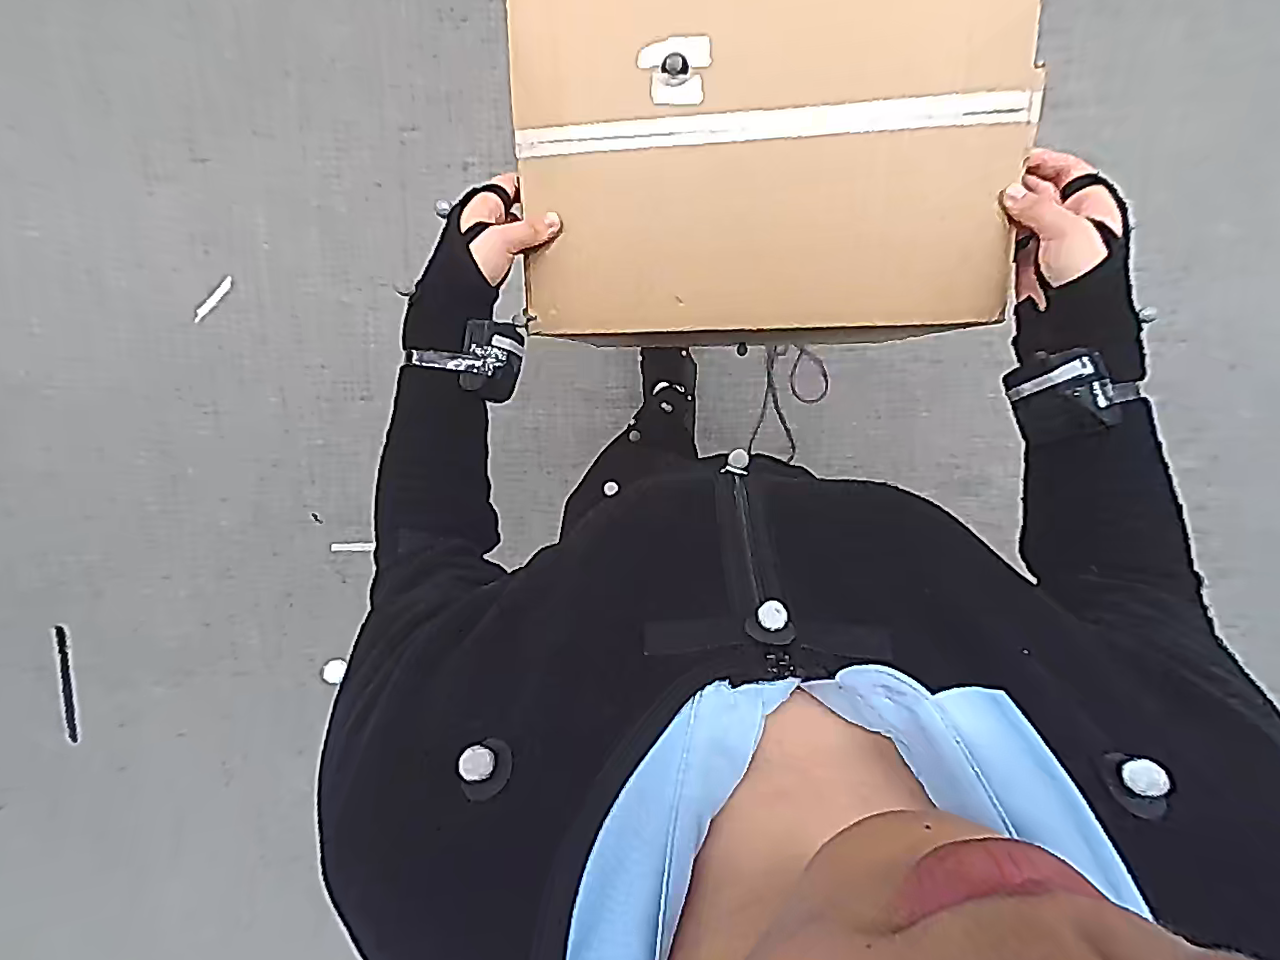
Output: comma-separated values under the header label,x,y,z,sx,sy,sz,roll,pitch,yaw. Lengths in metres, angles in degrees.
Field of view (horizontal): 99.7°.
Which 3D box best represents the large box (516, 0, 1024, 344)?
label,x,y,z,sx,sy,sz,roll,pitch,yaw
large box,0.118,-0.321,0.592,0.408,0.320,0.320,0,100,8
